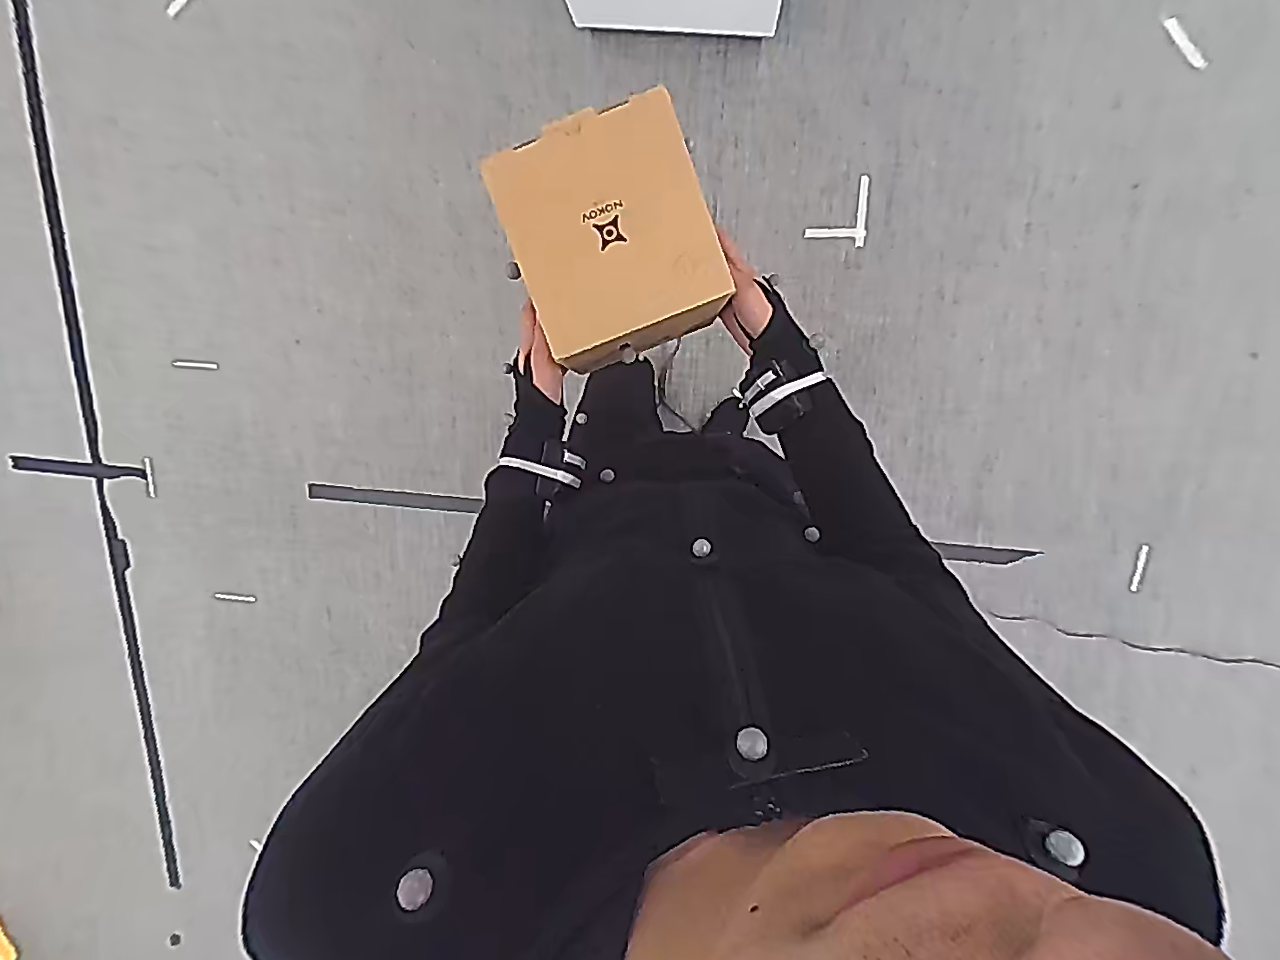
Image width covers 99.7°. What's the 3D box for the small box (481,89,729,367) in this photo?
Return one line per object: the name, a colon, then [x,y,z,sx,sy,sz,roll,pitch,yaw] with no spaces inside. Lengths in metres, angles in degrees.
small box: [-0.025,-0.220,0.531,0.168,0.176,0.179,-21,94,3]
